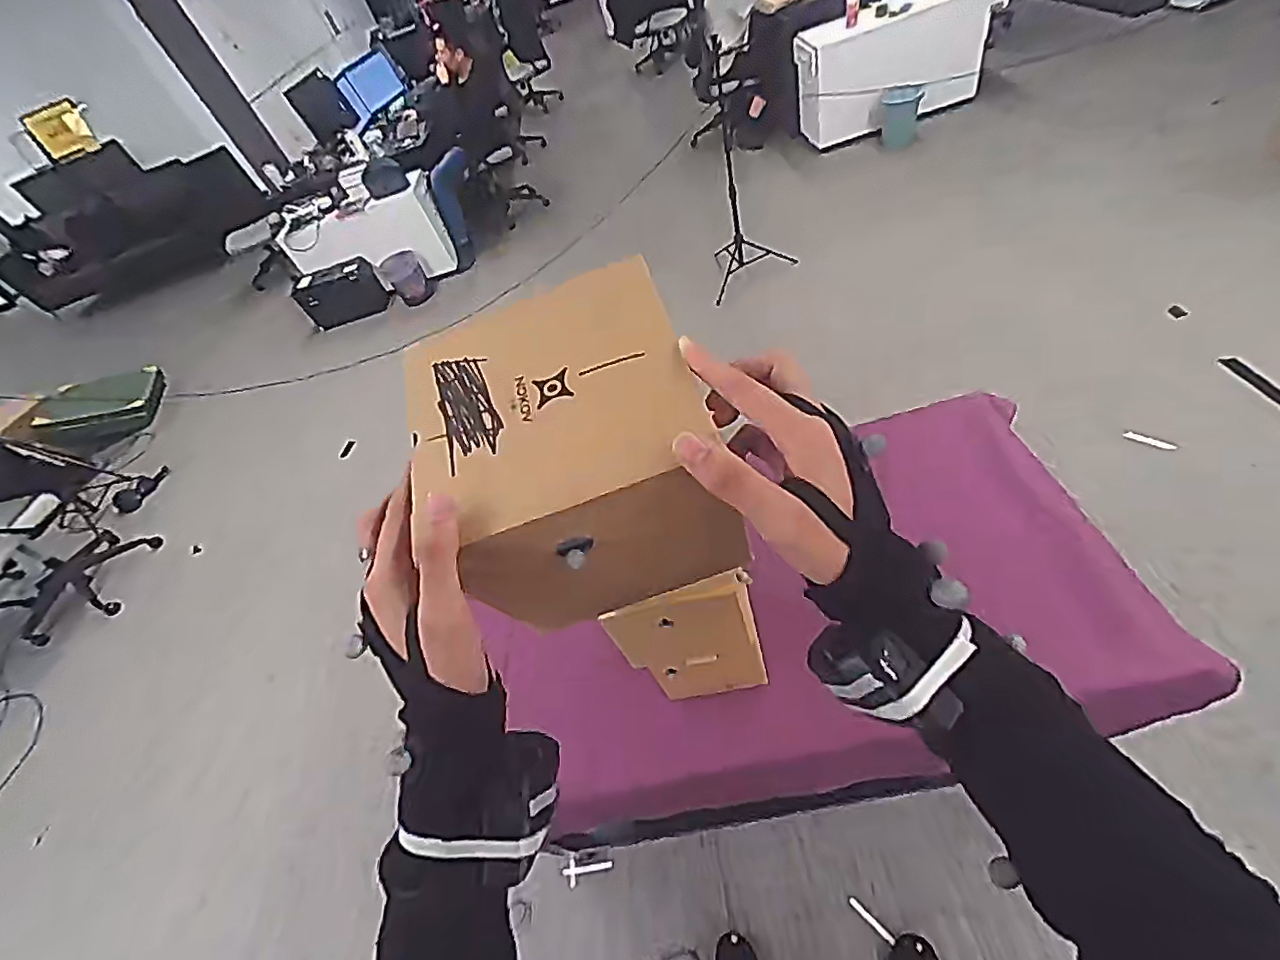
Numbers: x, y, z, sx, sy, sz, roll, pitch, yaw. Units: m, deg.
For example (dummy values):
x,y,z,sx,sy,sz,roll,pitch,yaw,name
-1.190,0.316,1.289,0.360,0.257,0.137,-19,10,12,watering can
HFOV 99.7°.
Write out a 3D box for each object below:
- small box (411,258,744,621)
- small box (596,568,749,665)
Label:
x,y,z,sx,sy,sz,roll,pitch,yaw,name
-0.038,-0.015,0.391,0.179,0.176,0.168,-20,58,5,small box
0.046,0.145,0.765,0.179,0.176,0.168,-13,48,9,small box
